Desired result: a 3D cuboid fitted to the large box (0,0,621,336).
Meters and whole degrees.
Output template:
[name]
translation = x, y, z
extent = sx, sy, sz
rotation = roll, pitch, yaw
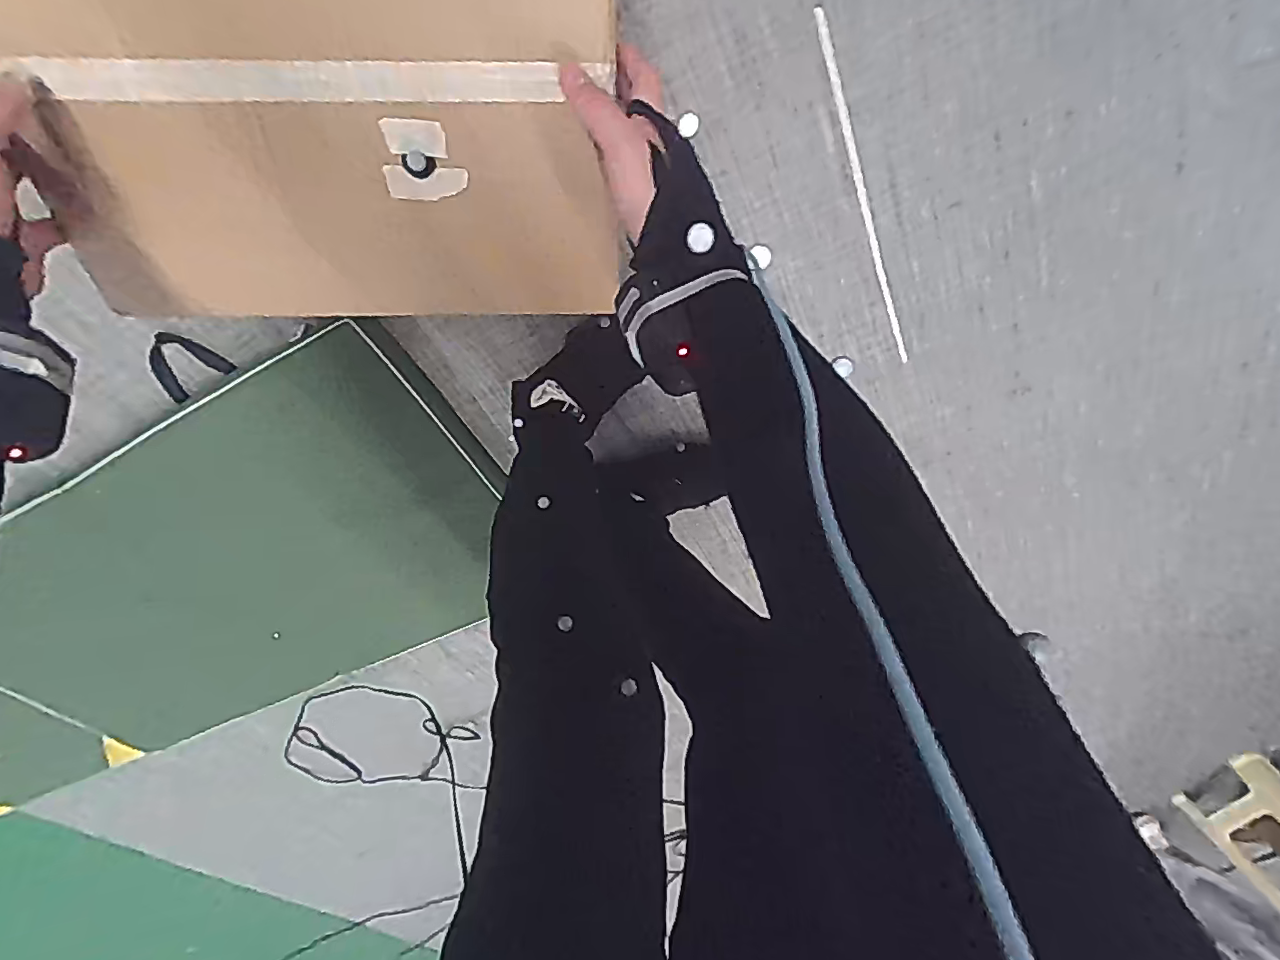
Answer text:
[large box]
translation = -0.227, -0.338, 0.485
extent = 0.408, 0.320, 0.320
rotation = -2, 127, -3
